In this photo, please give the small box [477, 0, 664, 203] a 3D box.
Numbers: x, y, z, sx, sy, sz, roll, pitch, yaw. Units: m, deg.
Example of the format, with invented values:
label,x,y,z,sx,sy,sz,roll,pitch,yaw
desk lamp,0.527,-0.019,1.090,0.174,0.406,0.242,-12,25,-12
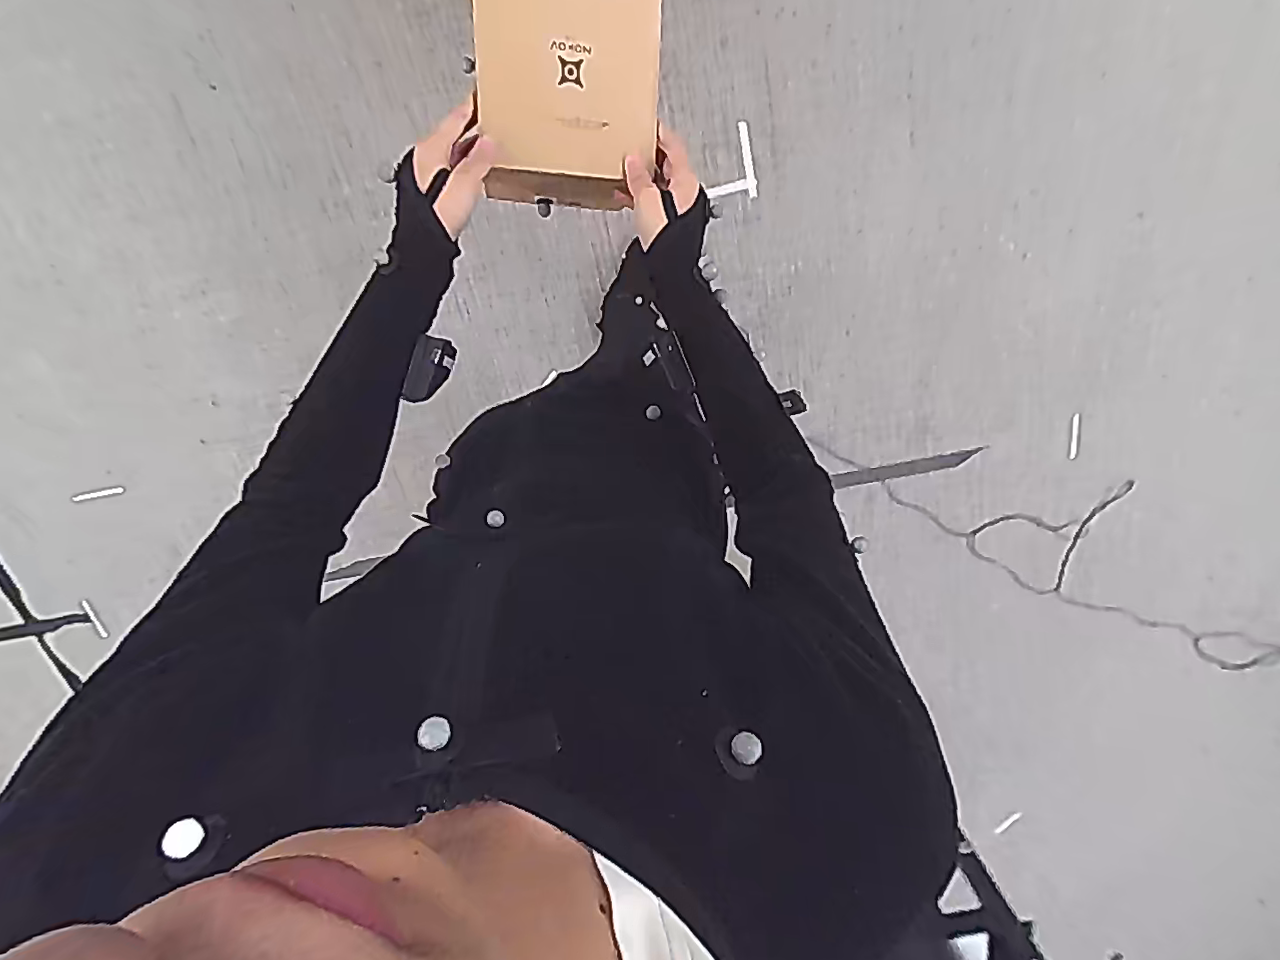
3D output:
label,x,y,z,sx,sy,sz,roll,pitch,yaw
small box,-0.078,-0.402,0.551,0.168,0.176,0.179,-2,106,-13
